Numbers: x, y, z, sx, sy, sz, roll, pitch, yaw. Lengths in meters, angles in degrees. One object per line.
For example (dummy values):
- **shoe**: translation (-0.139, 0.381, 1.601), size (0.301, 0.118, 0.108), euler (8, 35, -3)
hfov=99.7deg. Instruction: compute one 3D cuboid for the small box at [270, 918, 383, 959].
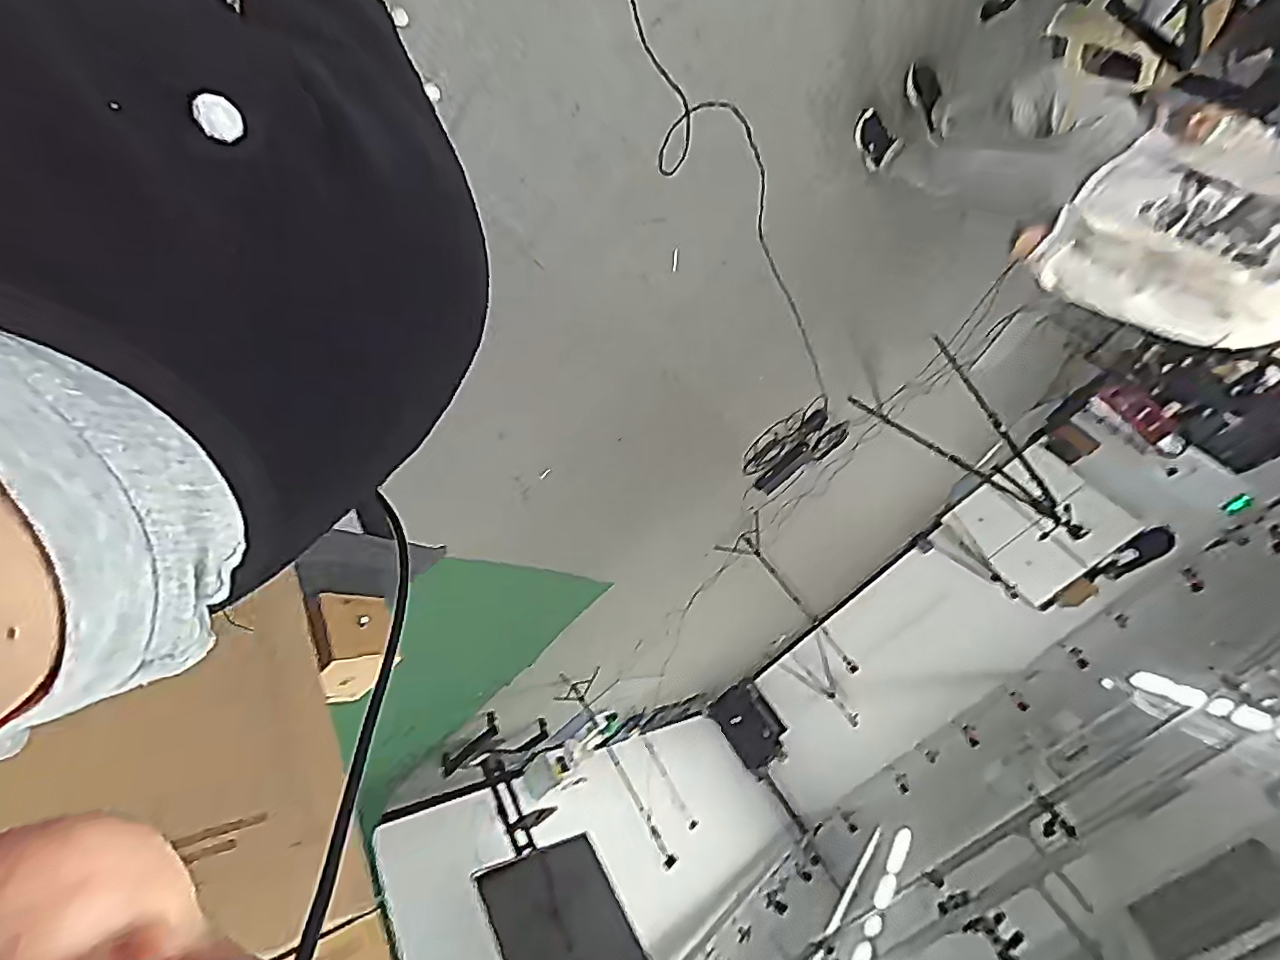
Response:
- **small box**: translation (-0.425, 0.692, 0.667), size (0.179, 0.176, 0.168), euler (-47, 148, 19)
